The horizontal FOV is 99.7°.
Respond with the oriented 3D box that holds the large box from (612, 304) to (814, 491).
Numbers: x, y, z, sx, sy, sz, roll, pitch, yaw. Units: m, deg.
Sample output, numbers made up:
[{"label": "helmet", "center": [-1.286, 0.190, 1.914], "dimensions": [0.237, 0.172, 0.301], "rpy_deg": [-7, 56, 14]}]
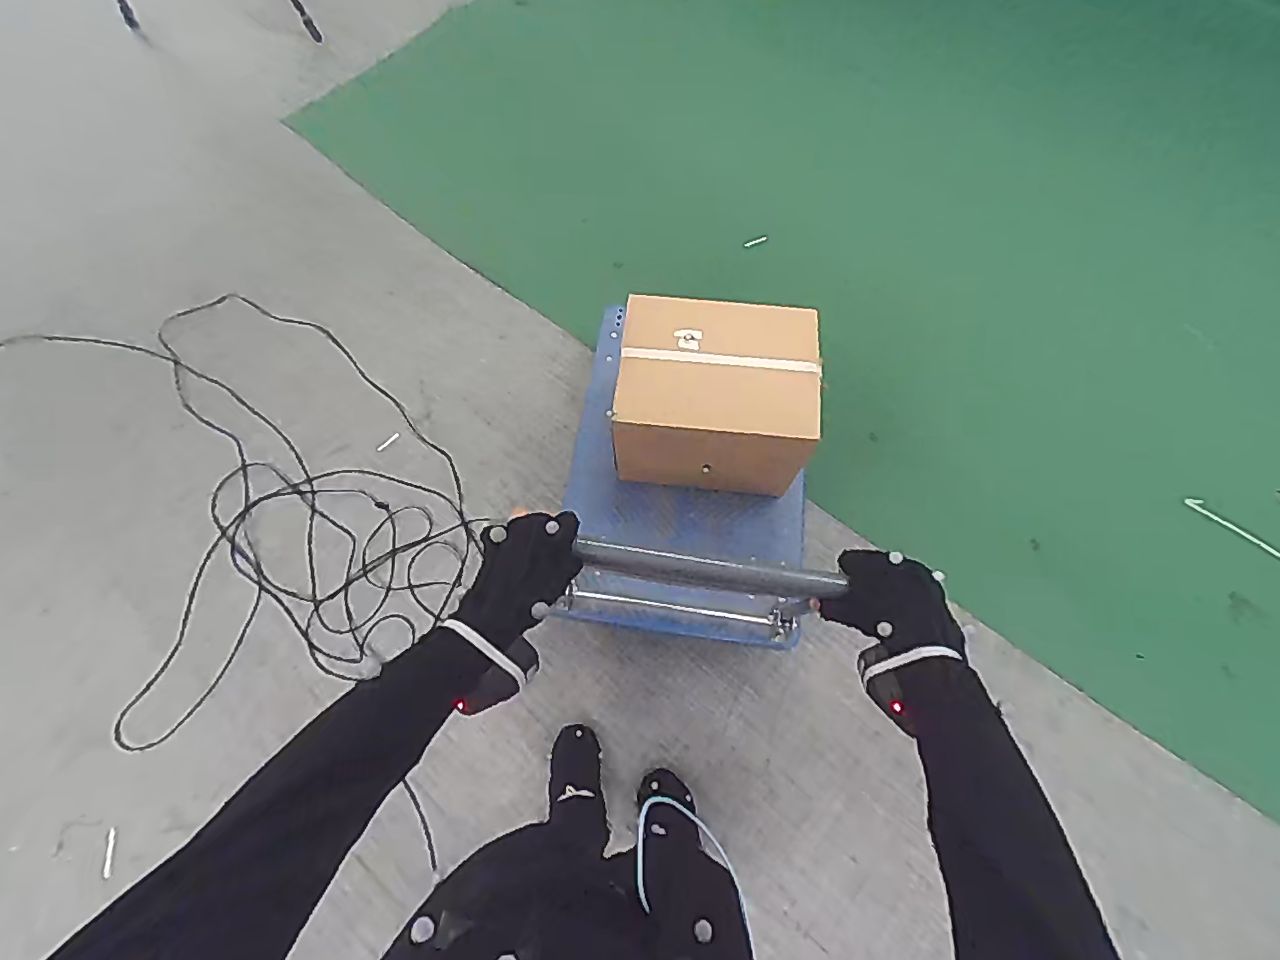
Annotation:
[{"label": "large box", "center": [0.158, -0.176, 1.251], "dimensions": [0.408, 0.320, 0.320], "rpy_deg": [5, 67, 3]}]
